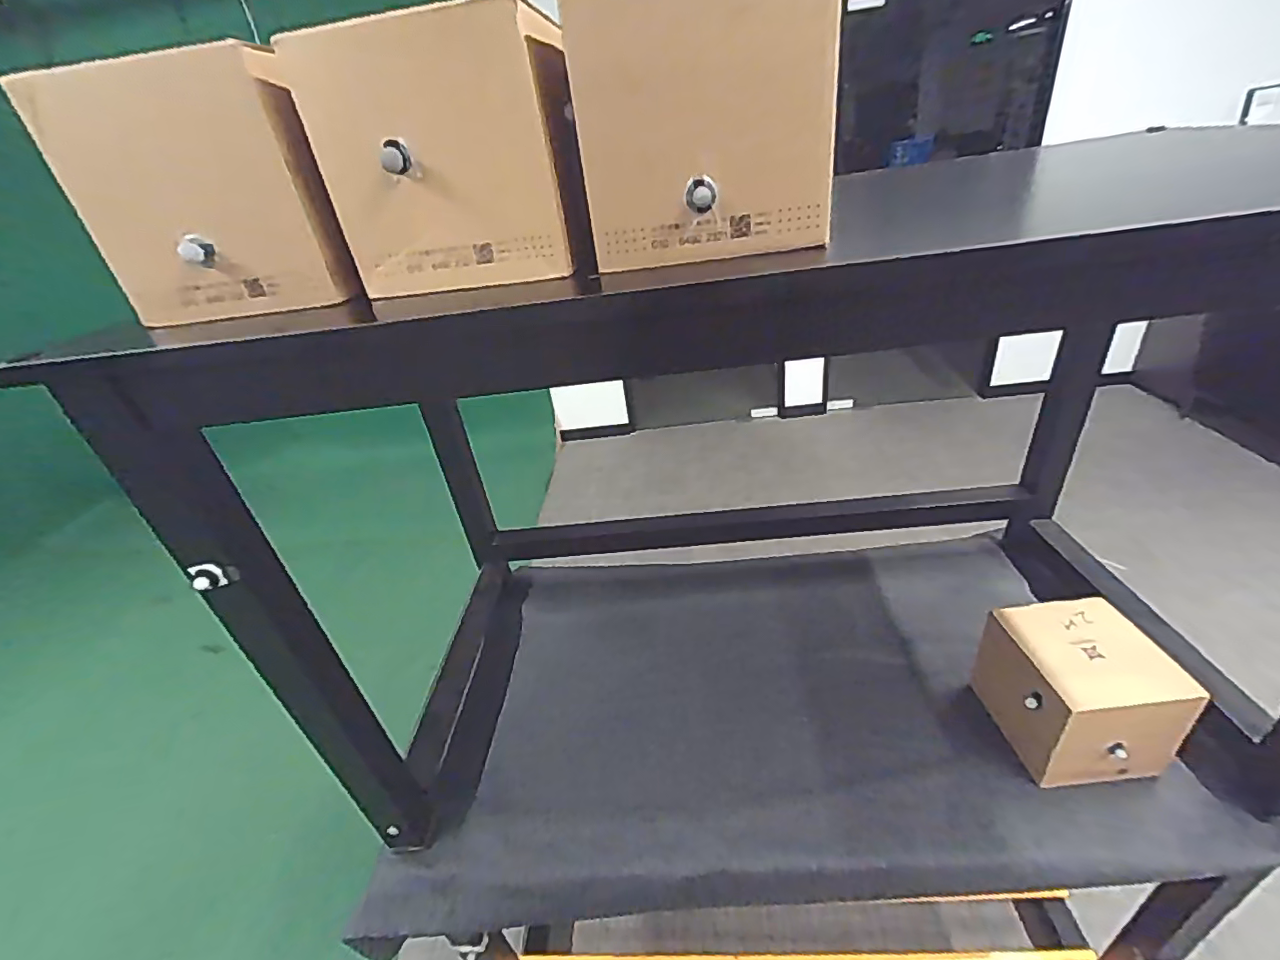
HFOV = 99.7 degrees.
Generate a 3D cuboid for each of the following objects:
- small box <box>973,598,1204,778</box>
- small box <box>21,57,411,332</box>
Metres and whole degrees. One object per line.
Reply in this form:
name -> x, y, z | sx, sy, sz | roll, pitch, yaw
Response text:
small box -> 0.611, 0.297, 0.768 | 0.168, 0.176, 0.179 | -7, 30, 2
small box -> -0.321, -0.237, 0.464 | 0.168, 0.176, 0.179 | -6, 32, 4
